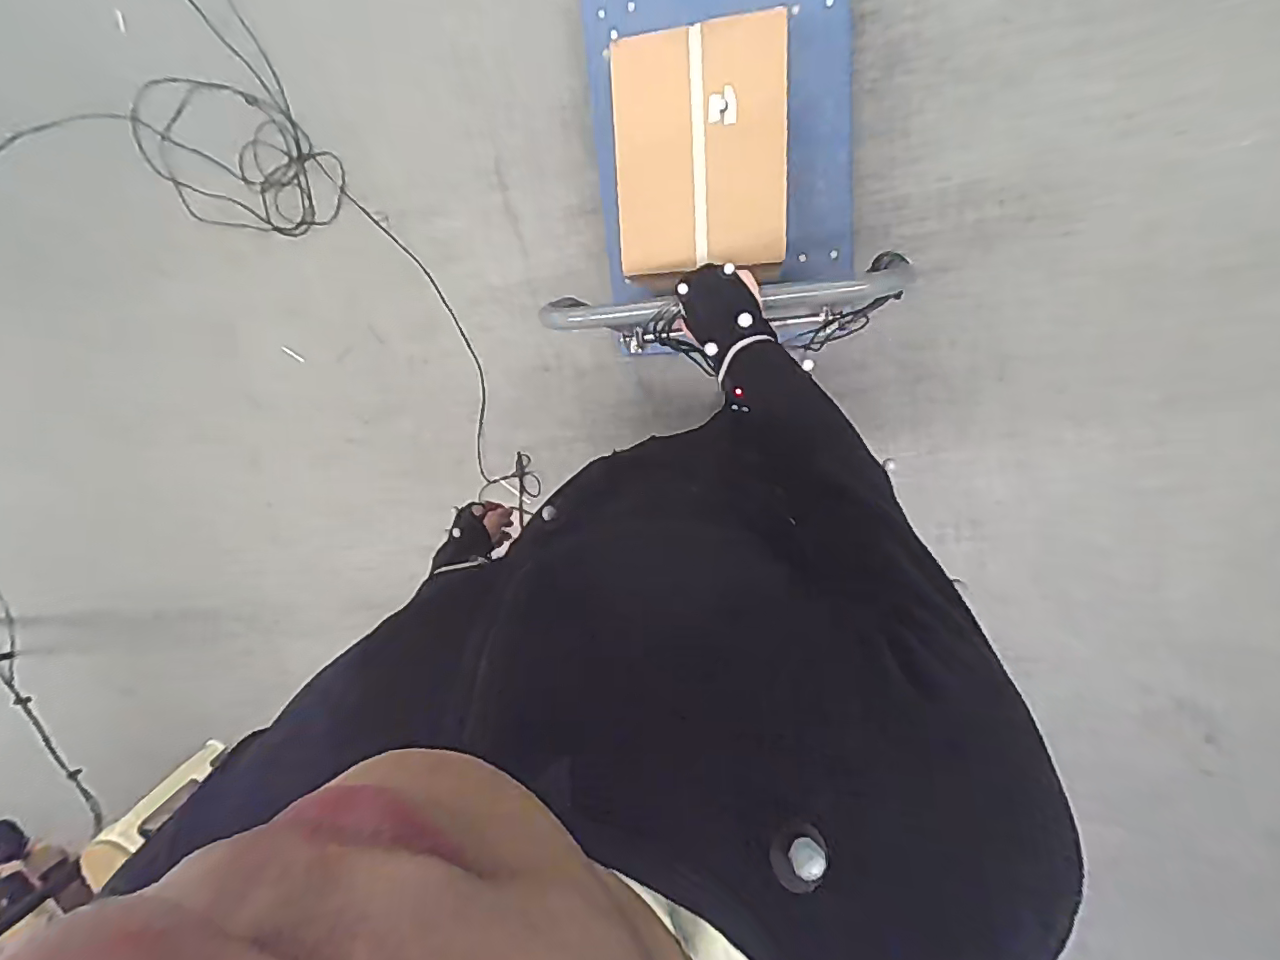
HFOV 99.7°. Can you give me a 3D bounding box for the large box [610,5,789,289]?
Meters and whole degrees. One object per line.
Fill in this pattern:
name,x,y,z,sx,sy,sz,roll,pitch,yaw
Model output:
large box,0.138,-0.629,1.113,0.320,0.320,0.408,0,103,12
